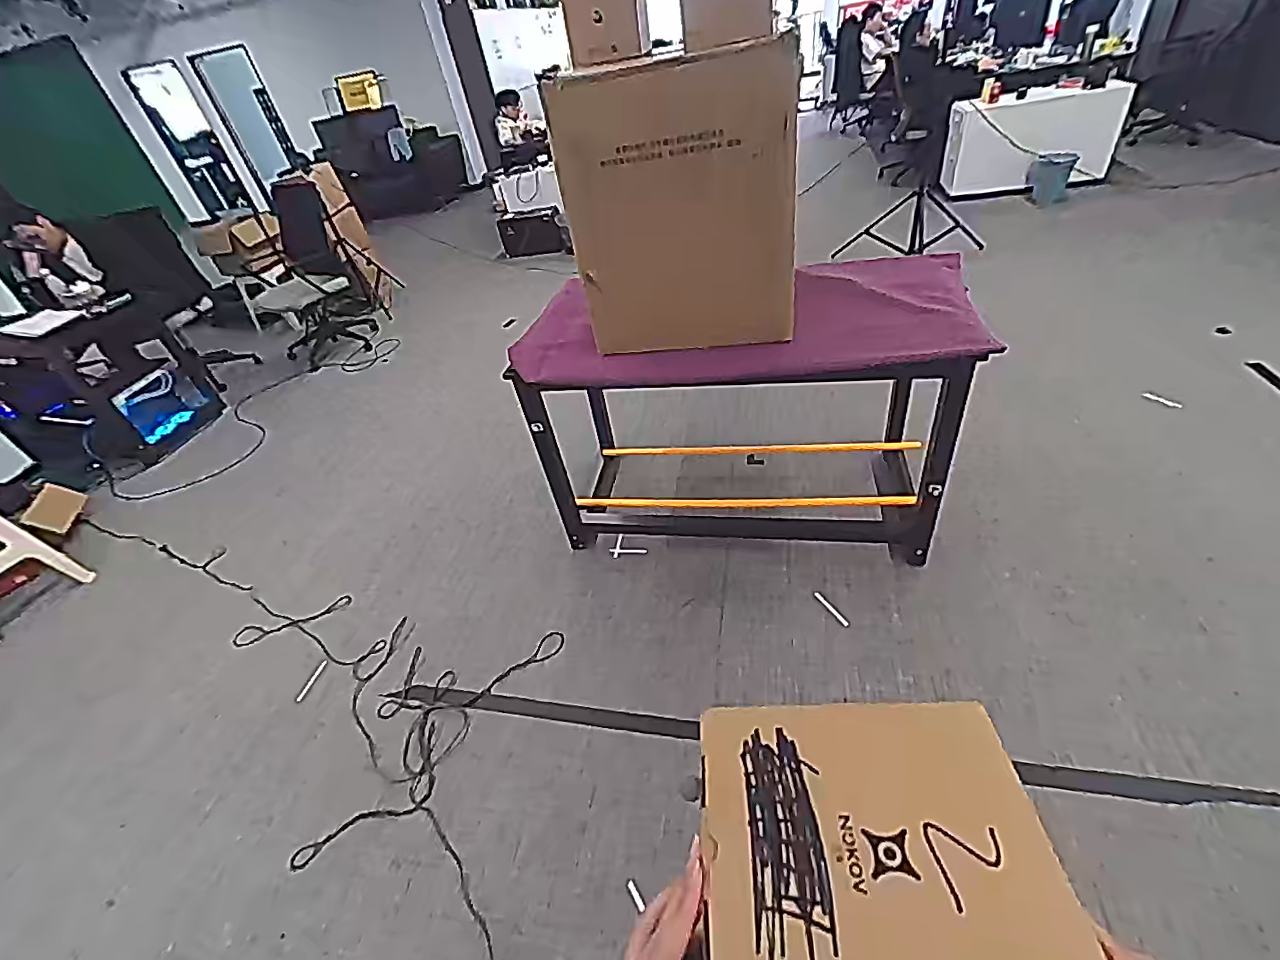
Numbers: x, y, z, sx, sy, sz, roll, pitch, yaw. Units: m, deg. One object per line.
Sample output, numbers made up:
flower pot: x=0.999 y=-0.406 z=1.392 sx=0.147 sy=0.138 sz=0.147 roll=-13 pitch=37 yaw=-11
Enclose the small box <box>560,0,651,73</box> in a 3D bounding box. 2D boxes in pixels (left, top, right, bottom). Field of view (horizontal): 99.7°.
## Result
small box: x=-0.073 y=-1.053 z=1.242 sx=0.168 sy=0.176 sz=0.179 roll=1 pitch=41 yaw=12
